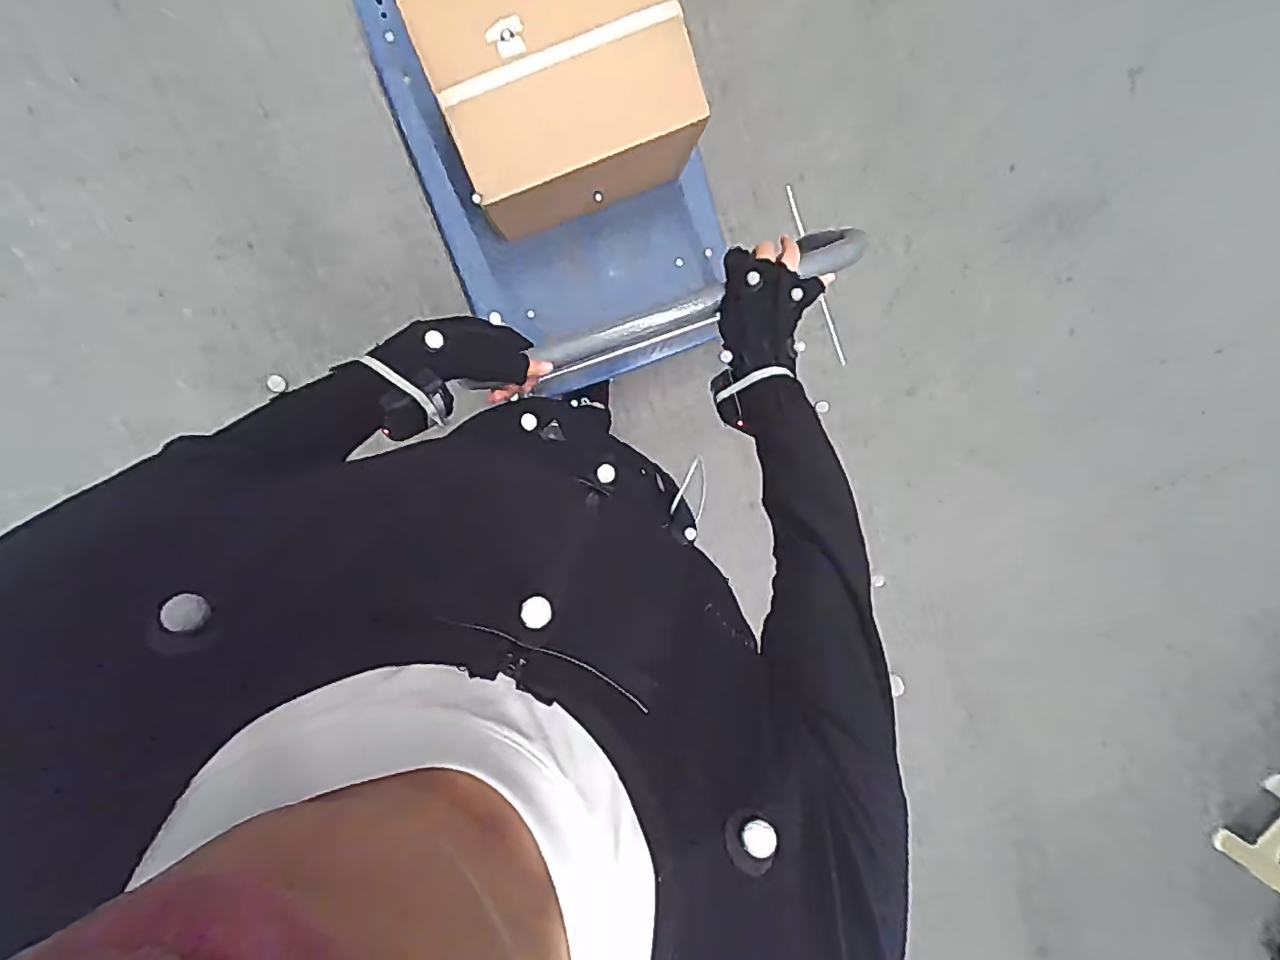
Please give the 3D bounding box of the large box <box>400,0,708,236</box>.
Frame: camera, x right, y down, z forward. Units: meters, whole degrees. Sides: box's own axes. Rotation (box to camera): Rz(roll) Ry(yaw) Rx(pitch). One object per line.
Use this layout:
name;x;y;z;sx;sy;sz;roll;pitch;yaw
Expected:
large box;-0.139;-0.697;0.988;0.408;0.320;0.320;-22;104;-1
